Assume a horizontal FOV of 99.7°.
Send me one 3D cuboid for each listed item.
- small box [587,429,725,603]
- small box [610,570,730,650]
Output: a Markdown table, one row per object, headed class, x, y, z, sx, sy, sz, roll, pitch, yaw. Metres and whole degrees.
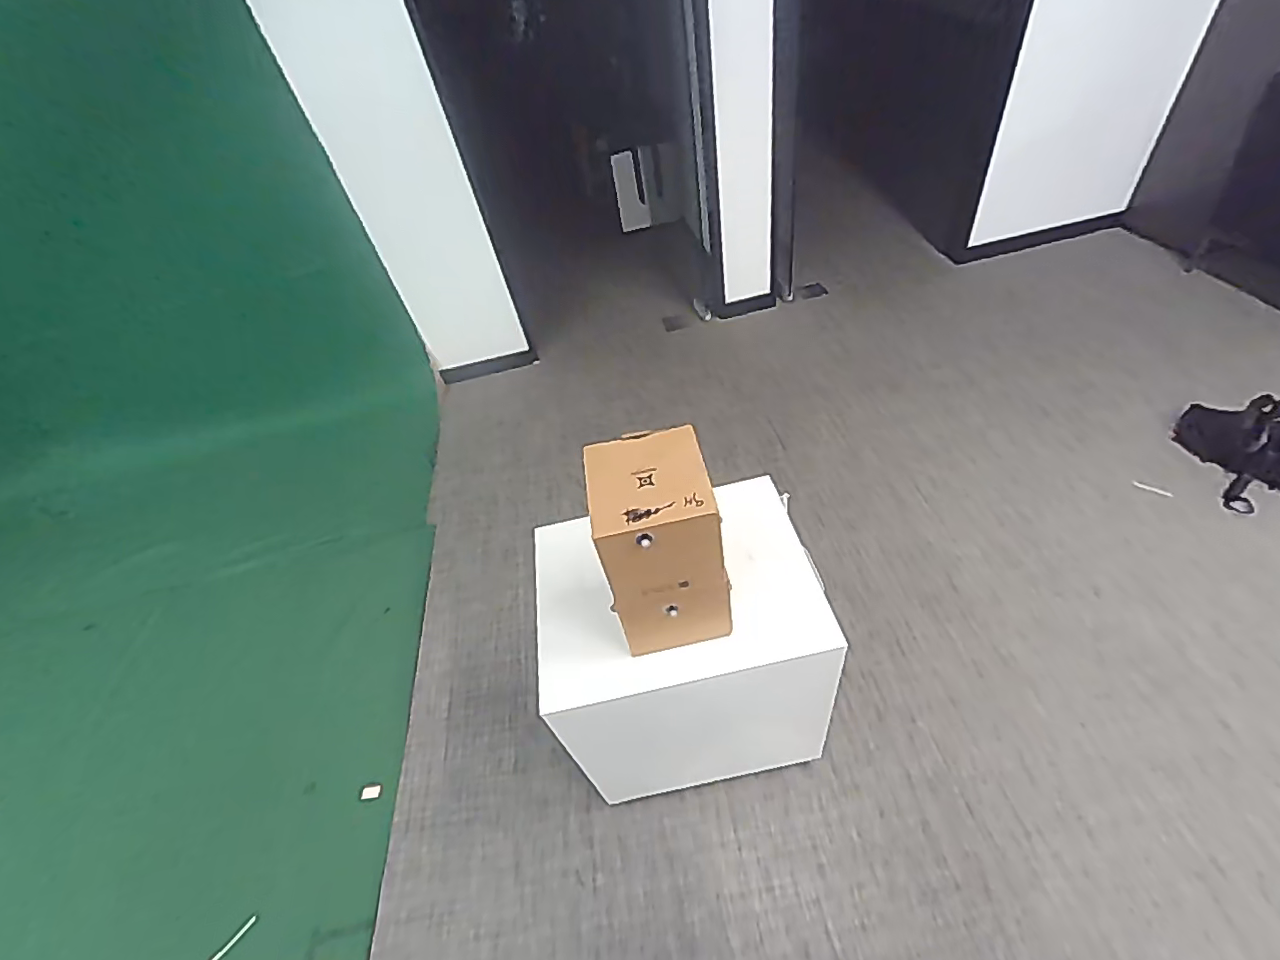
| class | x | y | z | sx | sy | sz | roll | pitch | yaw |
| --- | --- | --- | --- | --- | --- | --- | --- | --- | --- |
| small box | 0.024 | 0.054 | 0.803 | 0.168 | 0.176 | 0.179 | -13 | 46 | -1 |
| small box | 0.047 | 0.168 | 0.915 | 0.179 | 0.176 | 0.168 | -12 | 46 | 0 |
